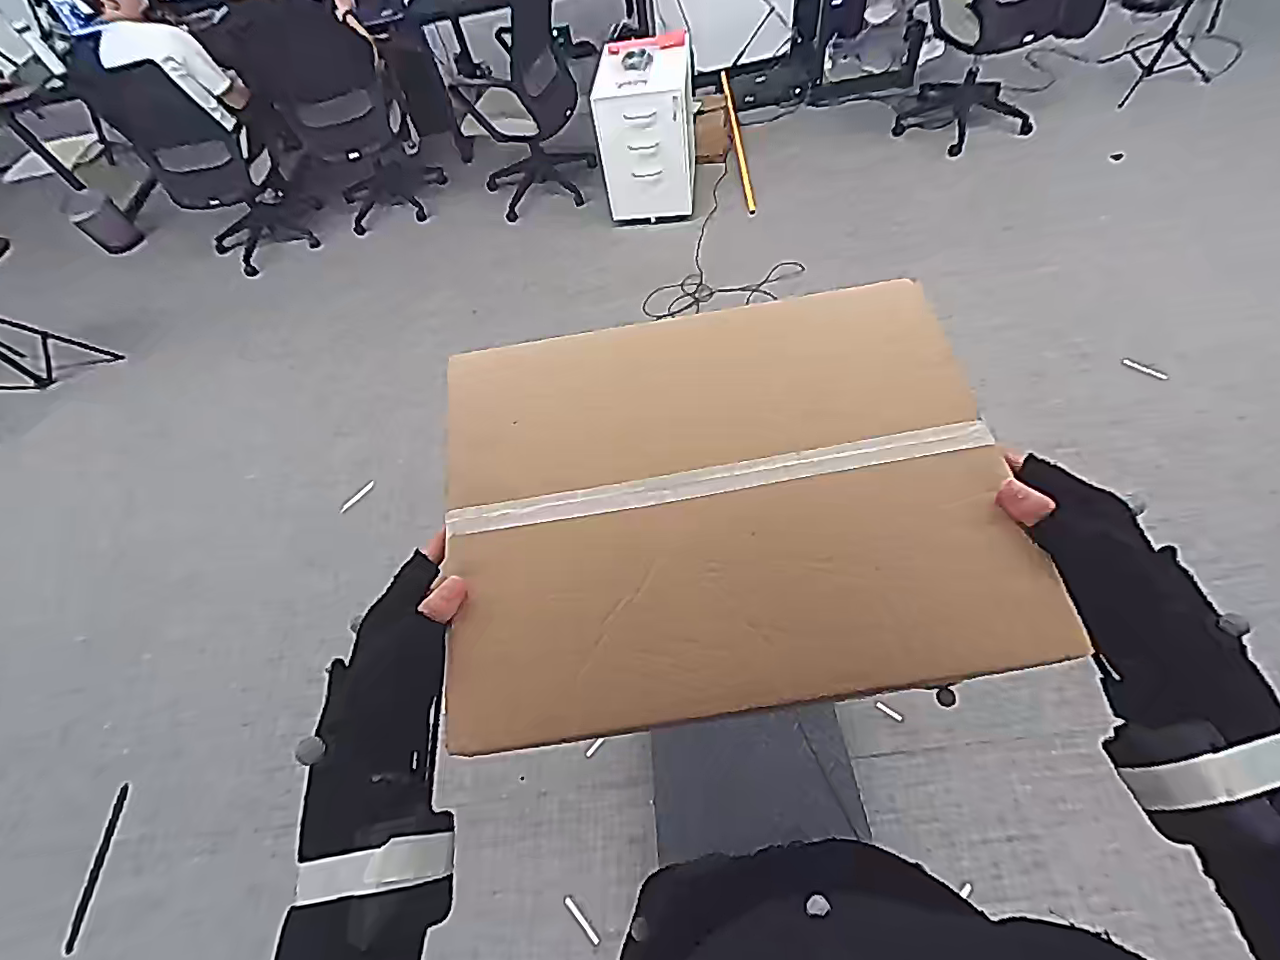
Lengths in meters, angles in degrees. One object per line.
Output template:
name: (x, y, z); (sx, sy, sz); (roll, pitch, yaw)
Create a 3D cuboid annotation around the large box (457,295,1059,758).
large box: (0.071, 0.068, 0.548); (0.408, 0.320, 0.320); (-10, 65, 1)
